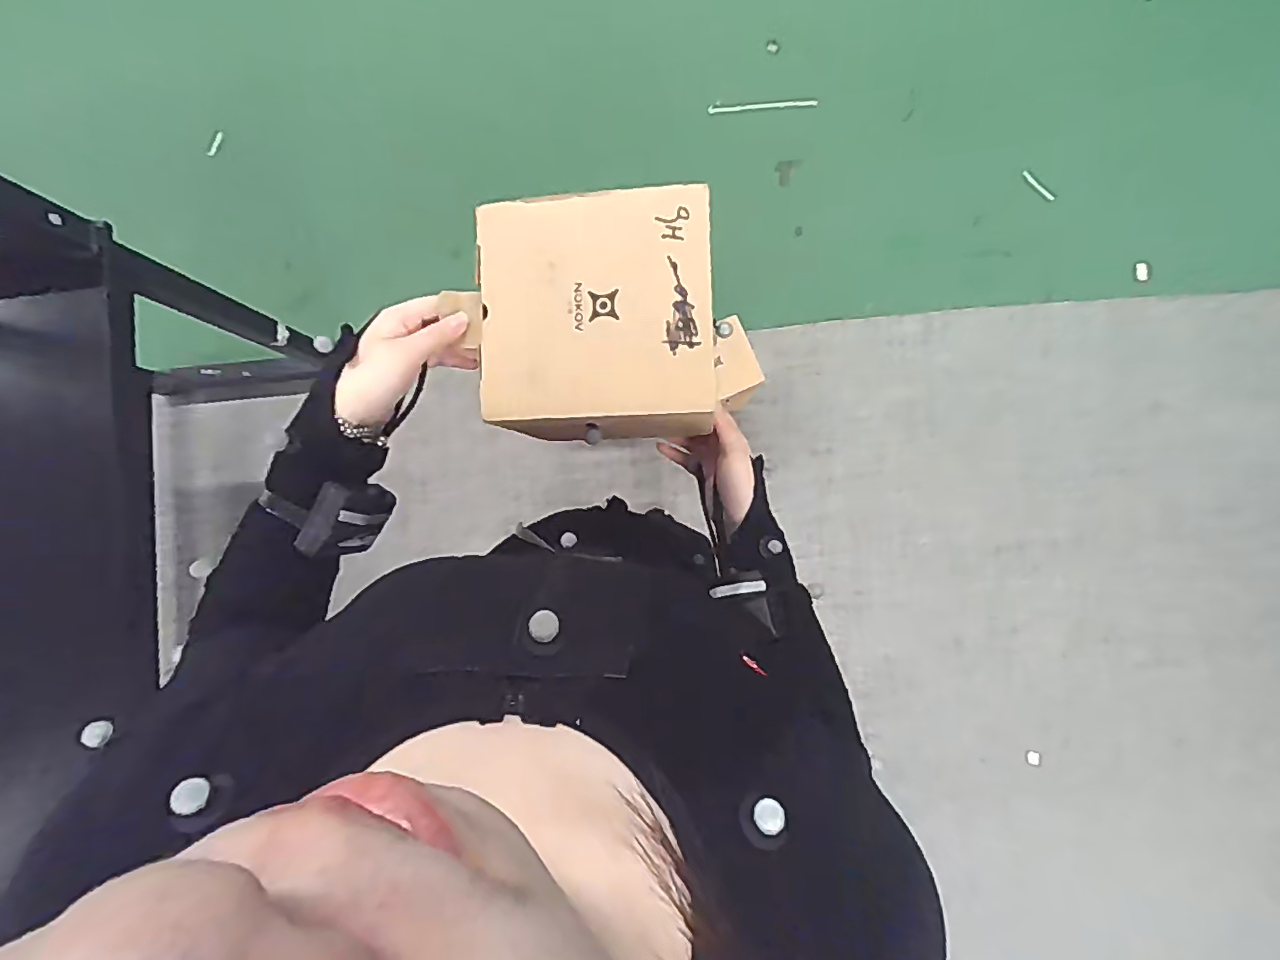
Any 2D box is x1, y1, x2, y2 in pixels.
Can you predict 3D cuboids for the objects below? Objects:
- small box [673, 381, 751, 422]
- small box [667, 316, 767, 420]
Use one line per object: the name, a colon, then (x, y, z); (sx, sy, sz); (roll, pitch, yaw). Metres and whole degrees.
small box: (0.182, -0.258, 1.435); (0.179, 0.176, 0.168); (-12, 88, 0)
small box: (0.172, -0.254, 1.273); (0.179, 0.176, 0.168); (-24, 89, -1)
